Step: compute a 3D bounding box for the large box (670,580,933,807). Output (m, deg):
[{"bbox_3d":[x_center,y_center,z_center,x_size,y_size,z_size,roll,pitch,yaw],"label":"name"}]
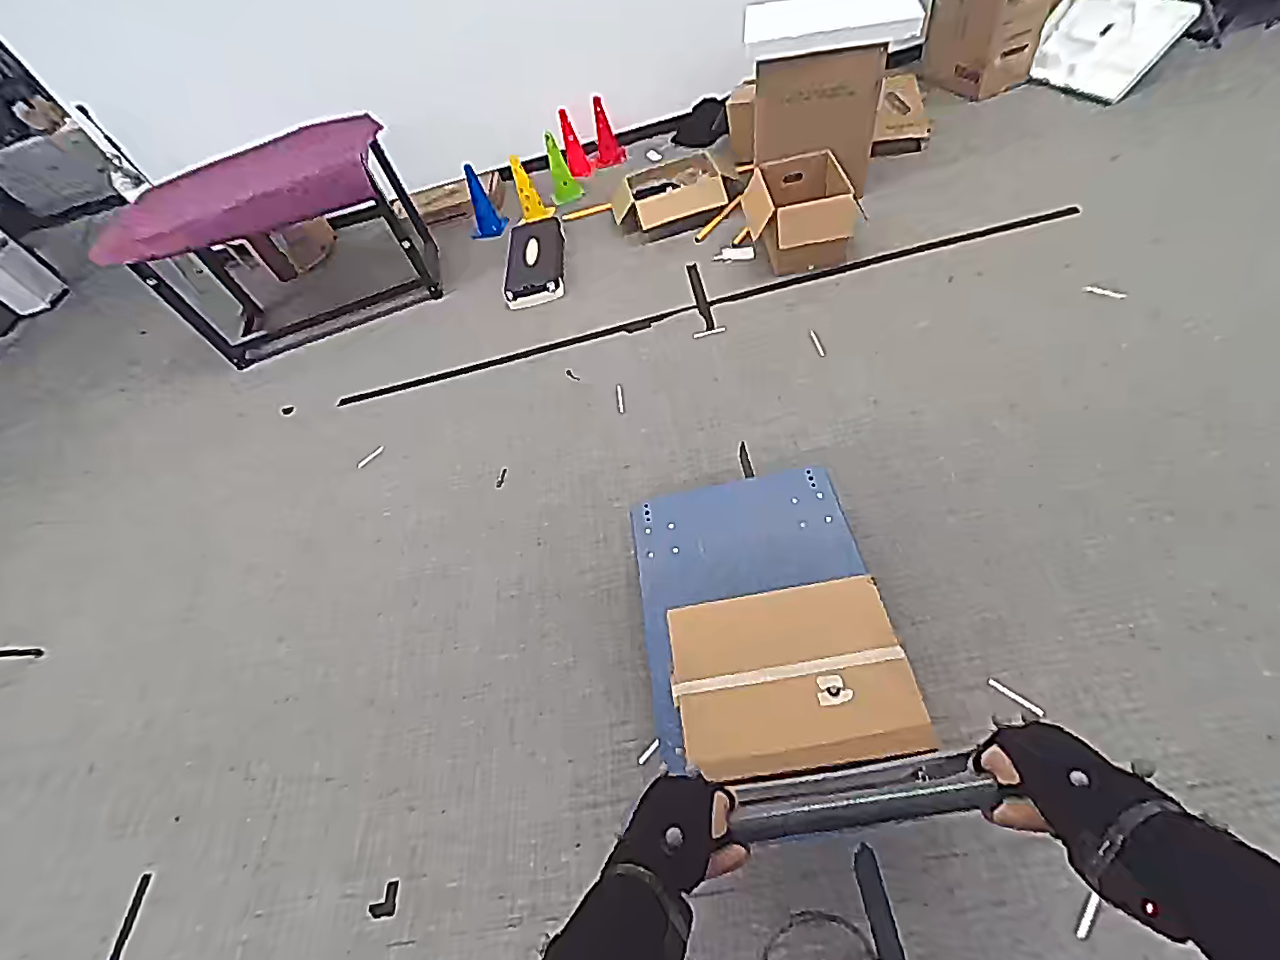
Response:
[{"bbox_3d":[0.295,0.443,1.099,0.408,0.320,0.320,-11,52,5],"label":"large box"}]
